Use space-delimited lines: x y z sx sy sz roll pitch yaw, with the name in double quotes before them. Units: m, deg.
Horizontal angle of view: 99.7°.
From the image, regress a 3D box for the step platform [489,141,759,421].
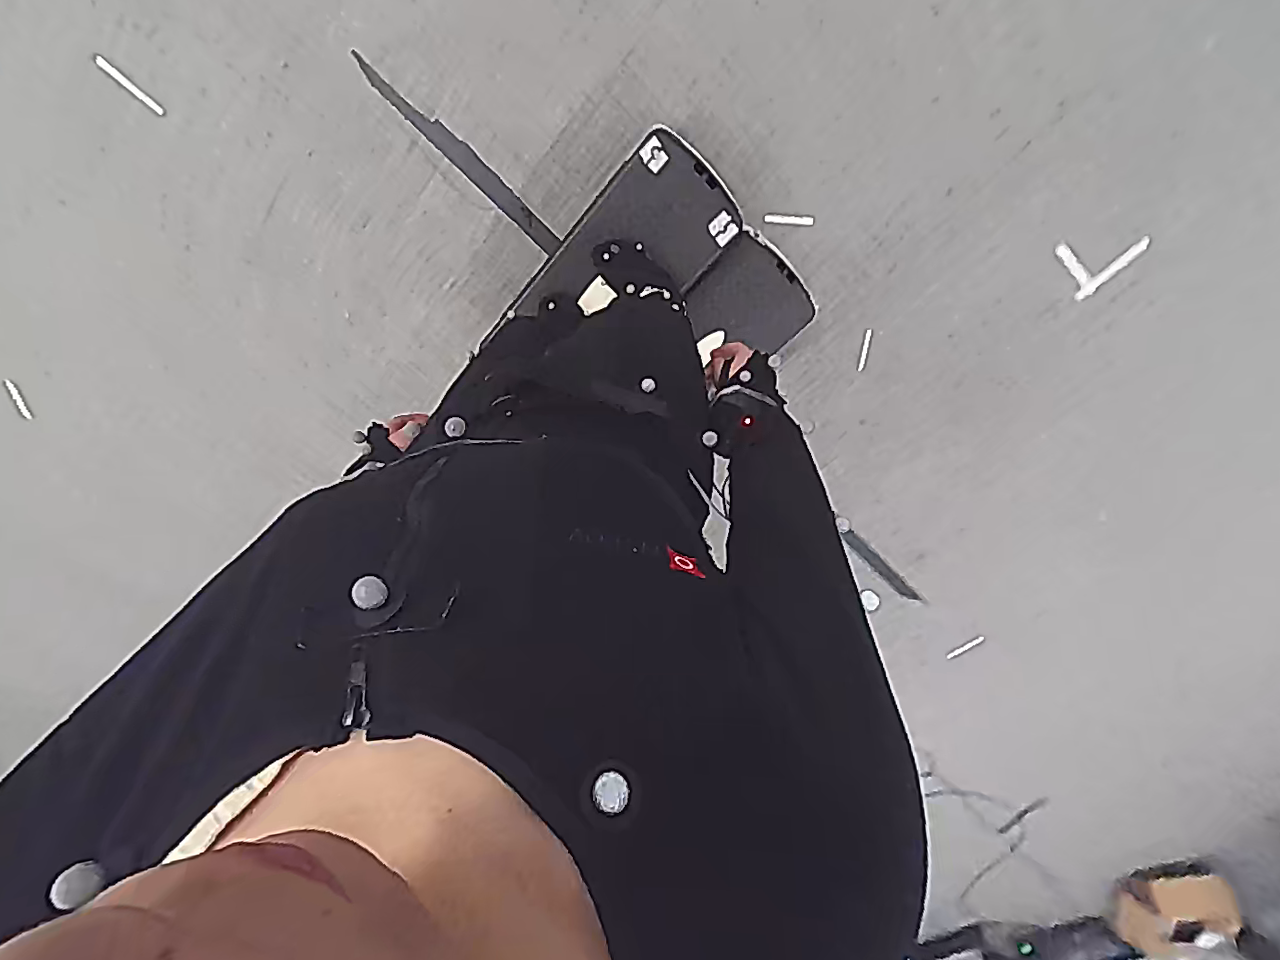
"step platform" -0.052 -0.455 1.313 0.684 0.204 0.286 -39 110 20
